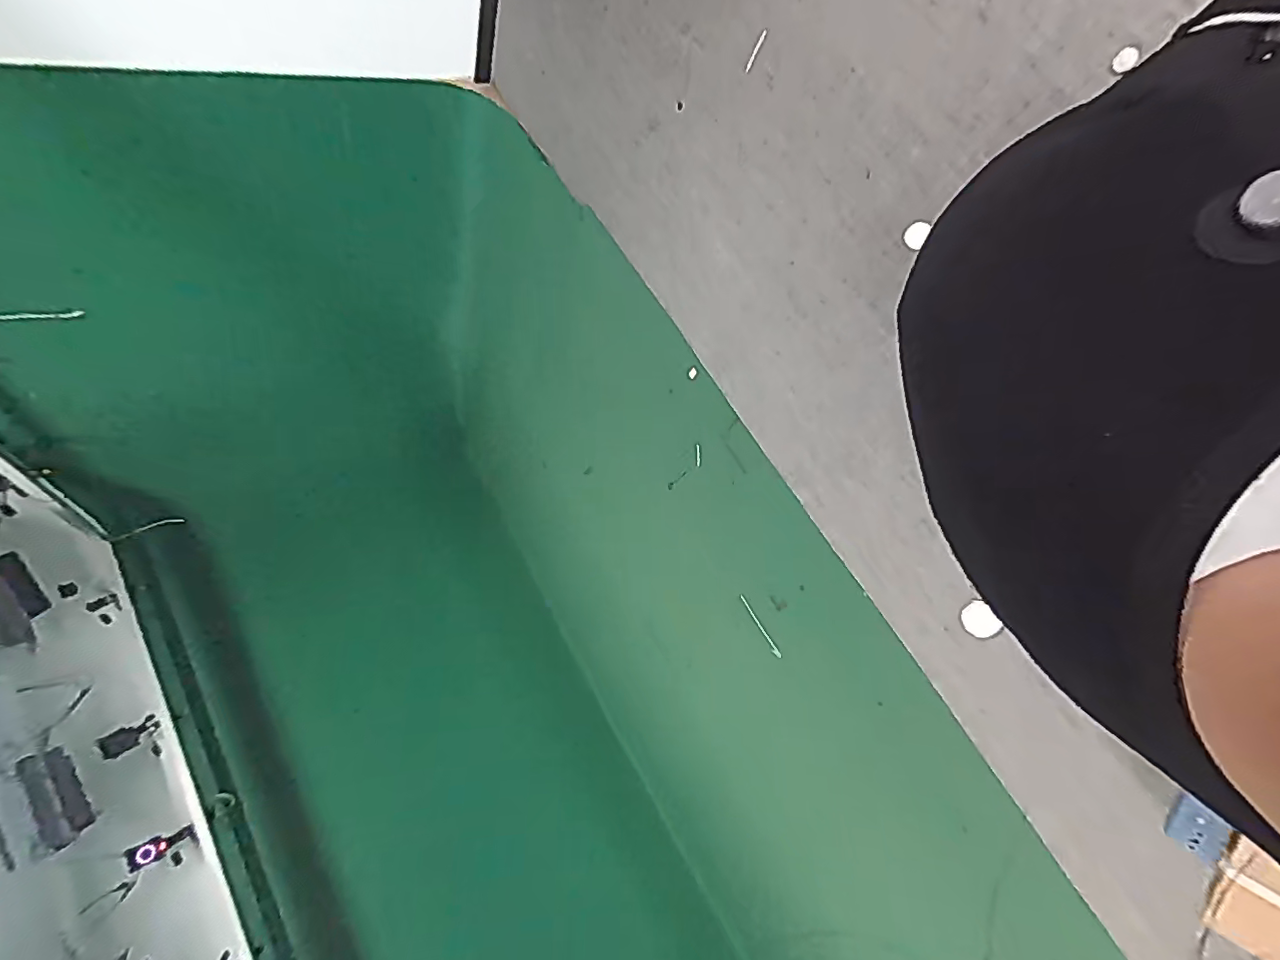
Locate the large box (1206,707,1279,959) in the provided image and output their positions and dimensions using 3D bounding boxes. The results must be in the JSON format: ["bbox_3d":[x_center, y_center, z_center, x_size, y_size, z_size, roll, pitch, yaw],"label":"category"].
[{"bbox_3d":[1.205,0.638,0.824,0.408,0.320,0.320,19,125,48],"label":"large box"}]
